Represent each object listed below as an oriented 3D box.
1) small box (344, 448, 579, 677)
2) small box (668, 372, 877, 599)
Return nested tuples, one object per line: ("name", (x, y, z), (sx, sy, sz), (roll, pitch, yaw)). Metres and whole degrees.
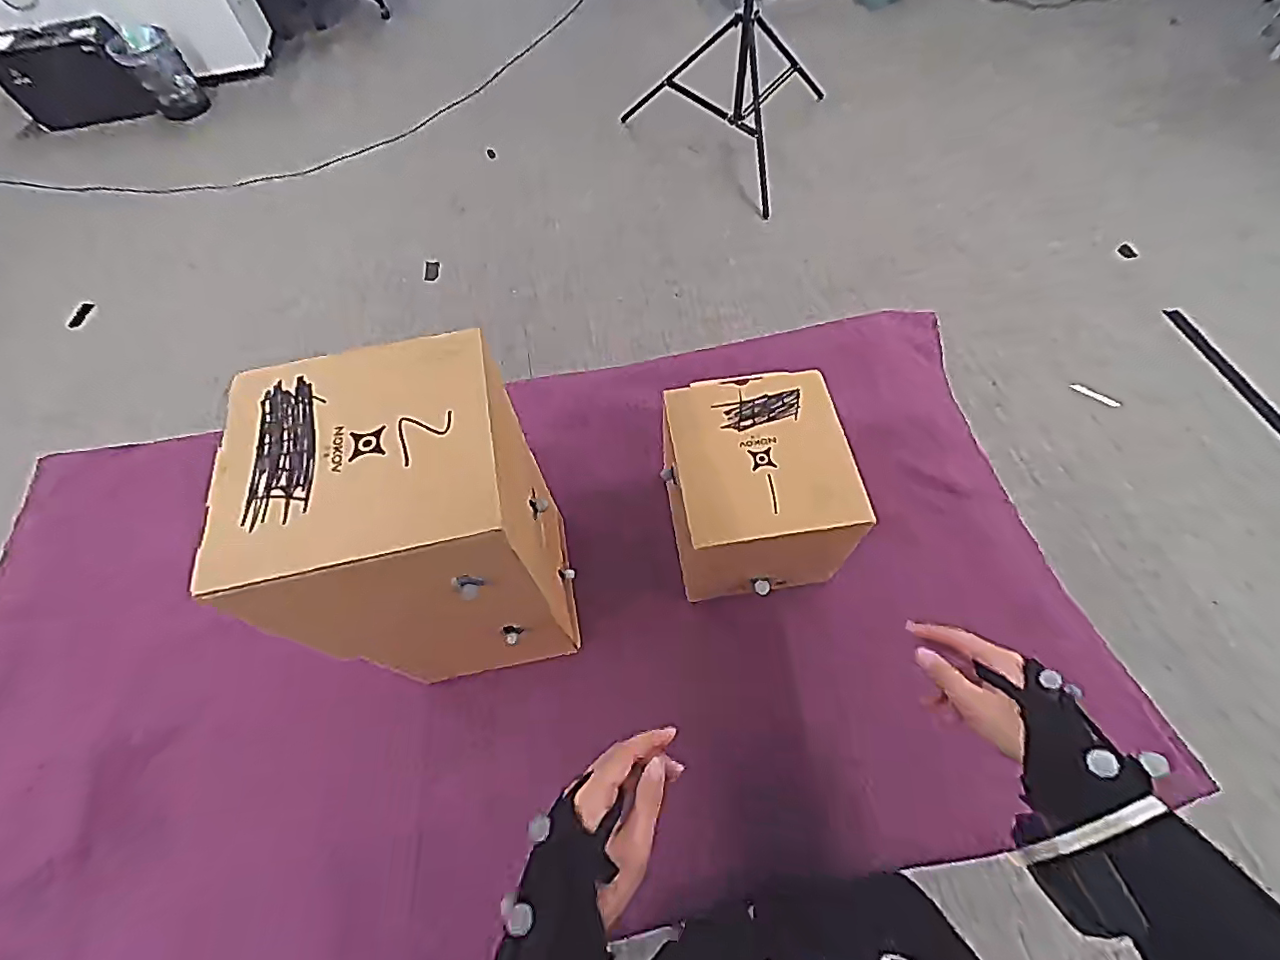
("small box", (-0.170, 0.093, 0.557), (0.179, 0.176, 0.168), (-11, 61, -4))
("small box", (0.121, 0.012, 0.583), (0.168, 0.176, 0.179), (-8, 61, -1))
